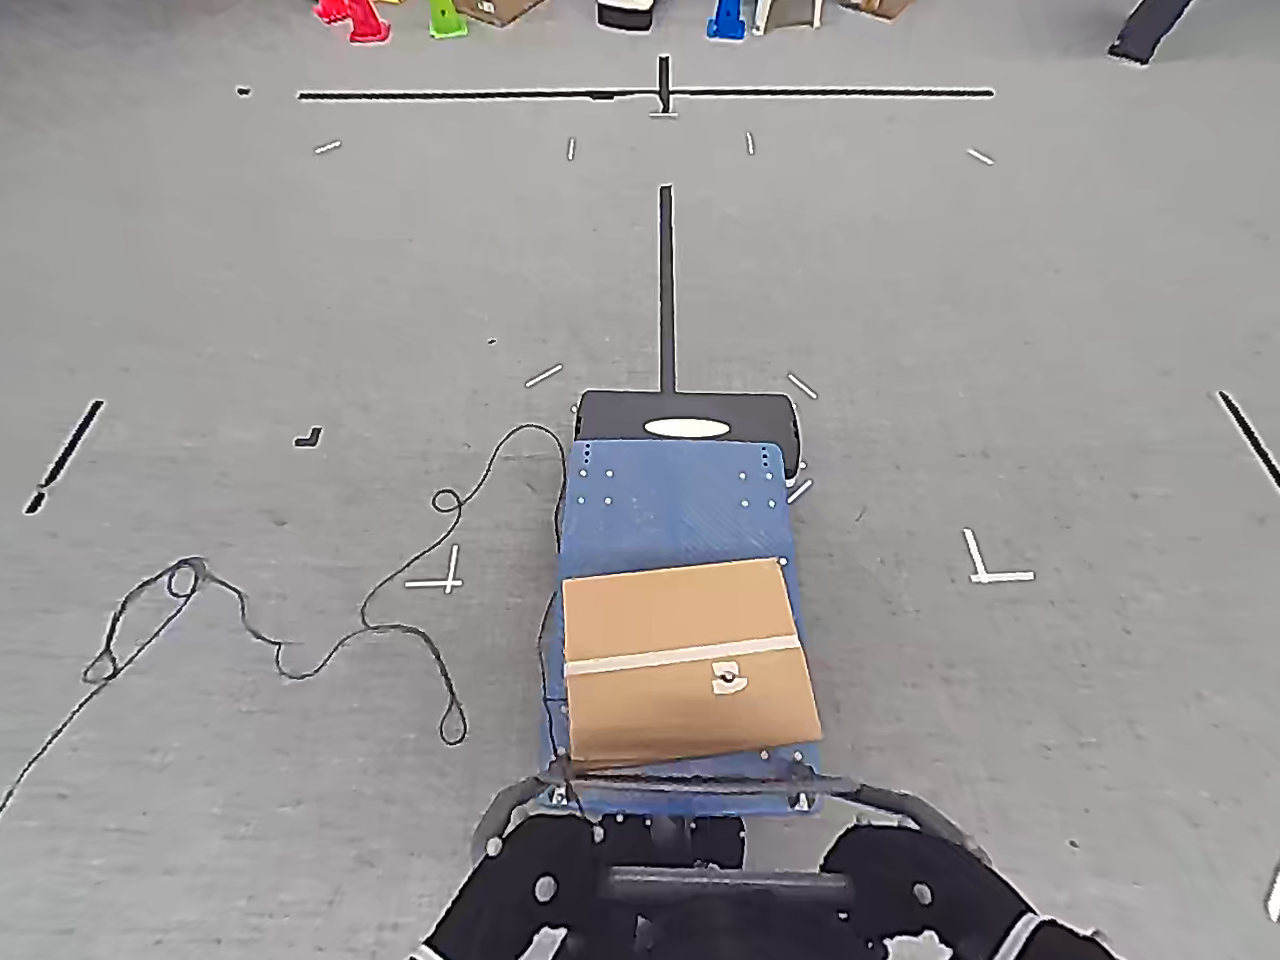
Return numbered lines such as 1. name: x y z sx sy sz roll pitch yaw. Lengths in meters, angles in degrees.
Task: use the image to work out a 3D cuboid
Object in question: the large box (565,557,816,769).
1. large box: 0.073 0.373 1.077 0.408 0.320 0.320 -6 62 -4
